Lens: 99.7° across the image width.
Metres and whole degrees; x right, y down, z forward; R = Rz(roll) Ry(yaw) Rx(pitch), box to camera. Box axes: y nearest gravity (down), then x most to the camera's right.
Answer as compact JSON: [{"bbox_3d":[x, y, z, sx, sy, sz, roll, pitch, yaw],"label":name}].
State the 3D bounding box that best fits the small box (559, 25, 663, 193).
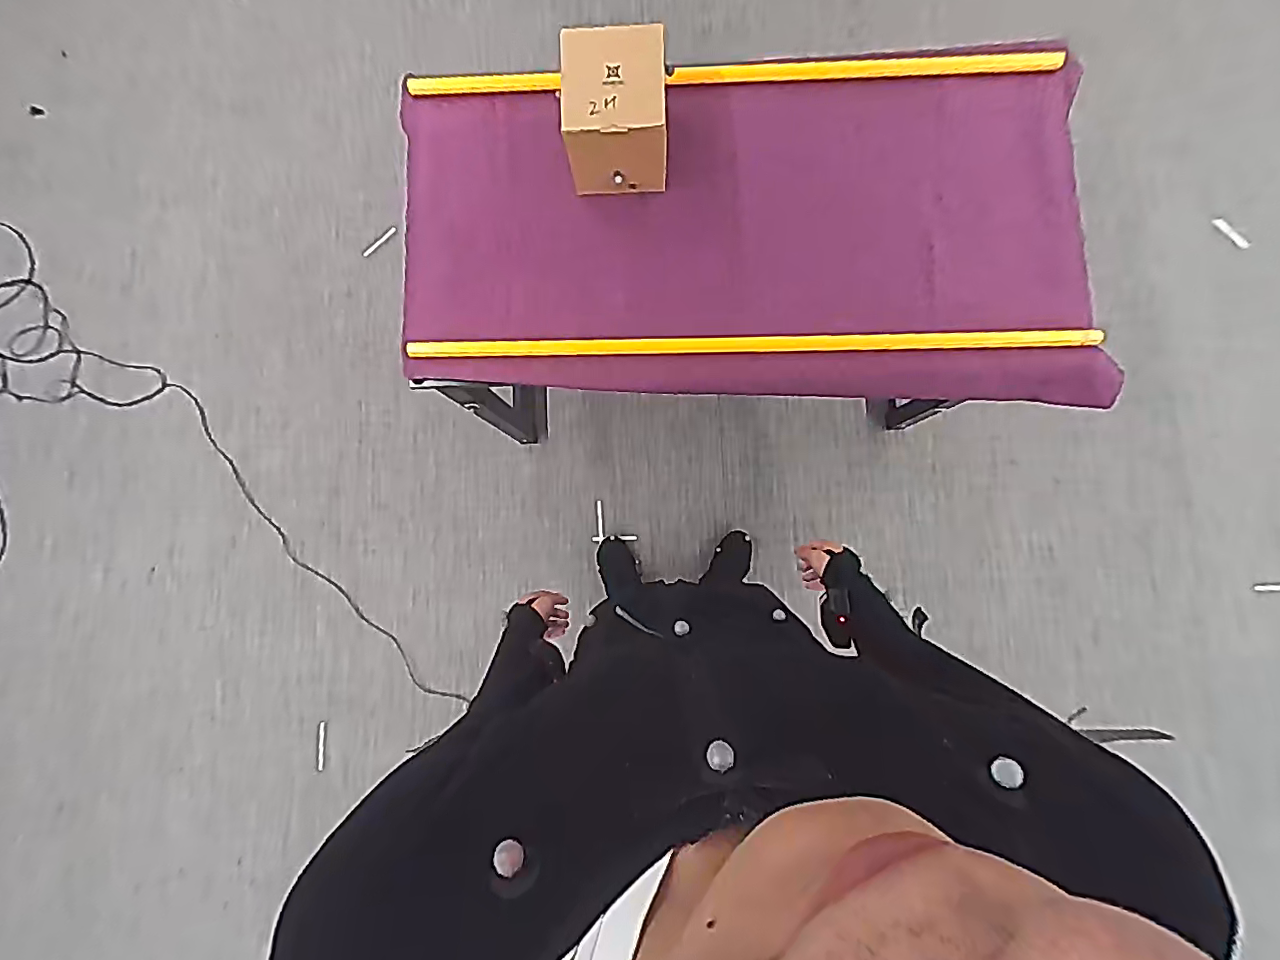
[{"bbox_3d":[-0.044,-0.627,0.930,0.168,0.176,0.179,-1,86,2],"label":"small box"}]
